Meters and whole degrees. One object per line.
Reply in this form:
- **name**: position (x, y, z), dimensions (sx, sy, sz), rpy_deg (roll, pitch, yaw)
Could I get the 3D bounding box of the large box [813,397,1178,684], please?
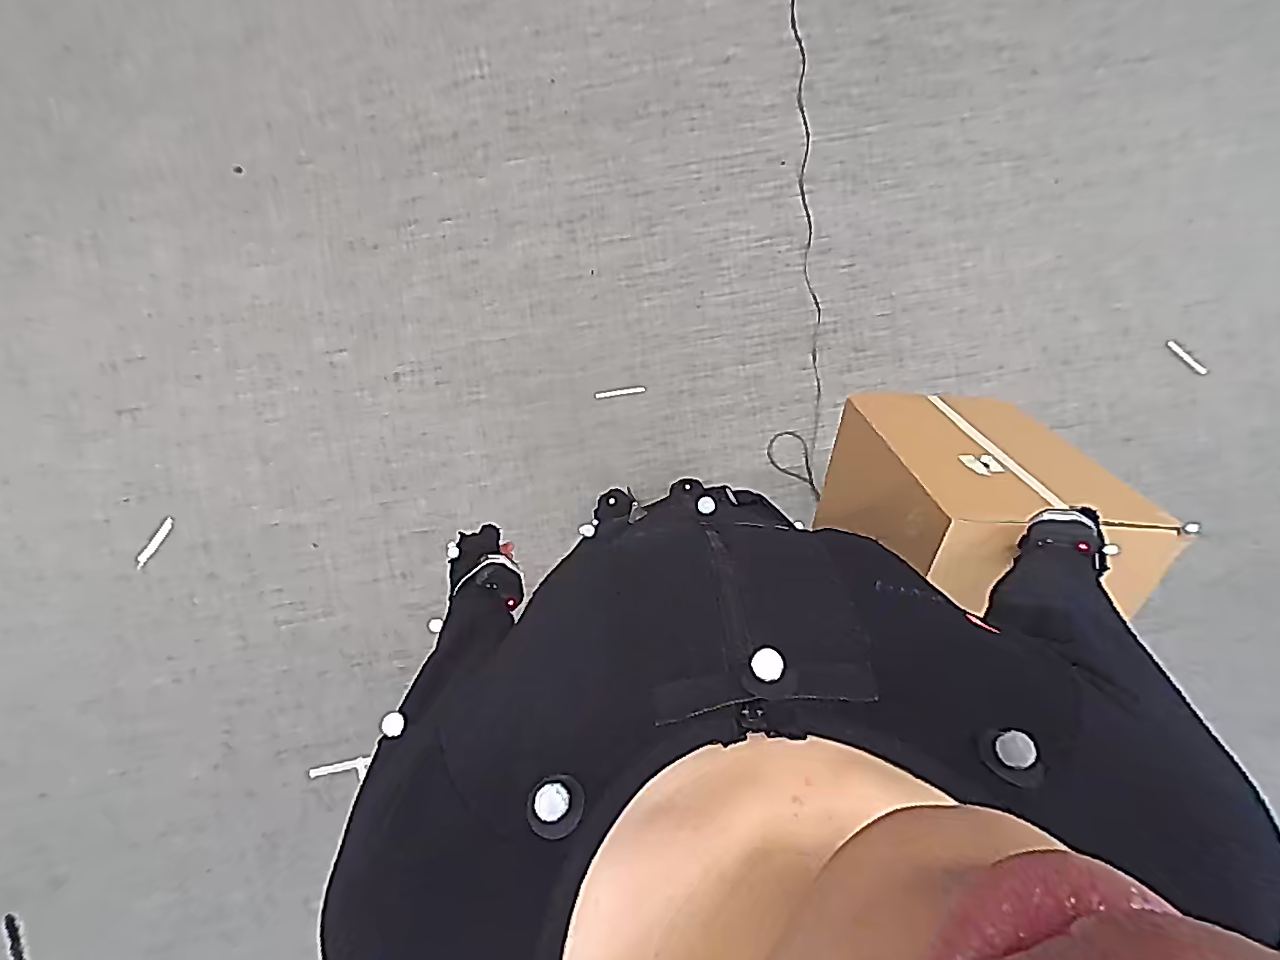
- **large box**: position (0.537, 0.086, 0.941), dimensions (0.320, 0.408, 0.320), rpy_deg (2, 123, -2)
